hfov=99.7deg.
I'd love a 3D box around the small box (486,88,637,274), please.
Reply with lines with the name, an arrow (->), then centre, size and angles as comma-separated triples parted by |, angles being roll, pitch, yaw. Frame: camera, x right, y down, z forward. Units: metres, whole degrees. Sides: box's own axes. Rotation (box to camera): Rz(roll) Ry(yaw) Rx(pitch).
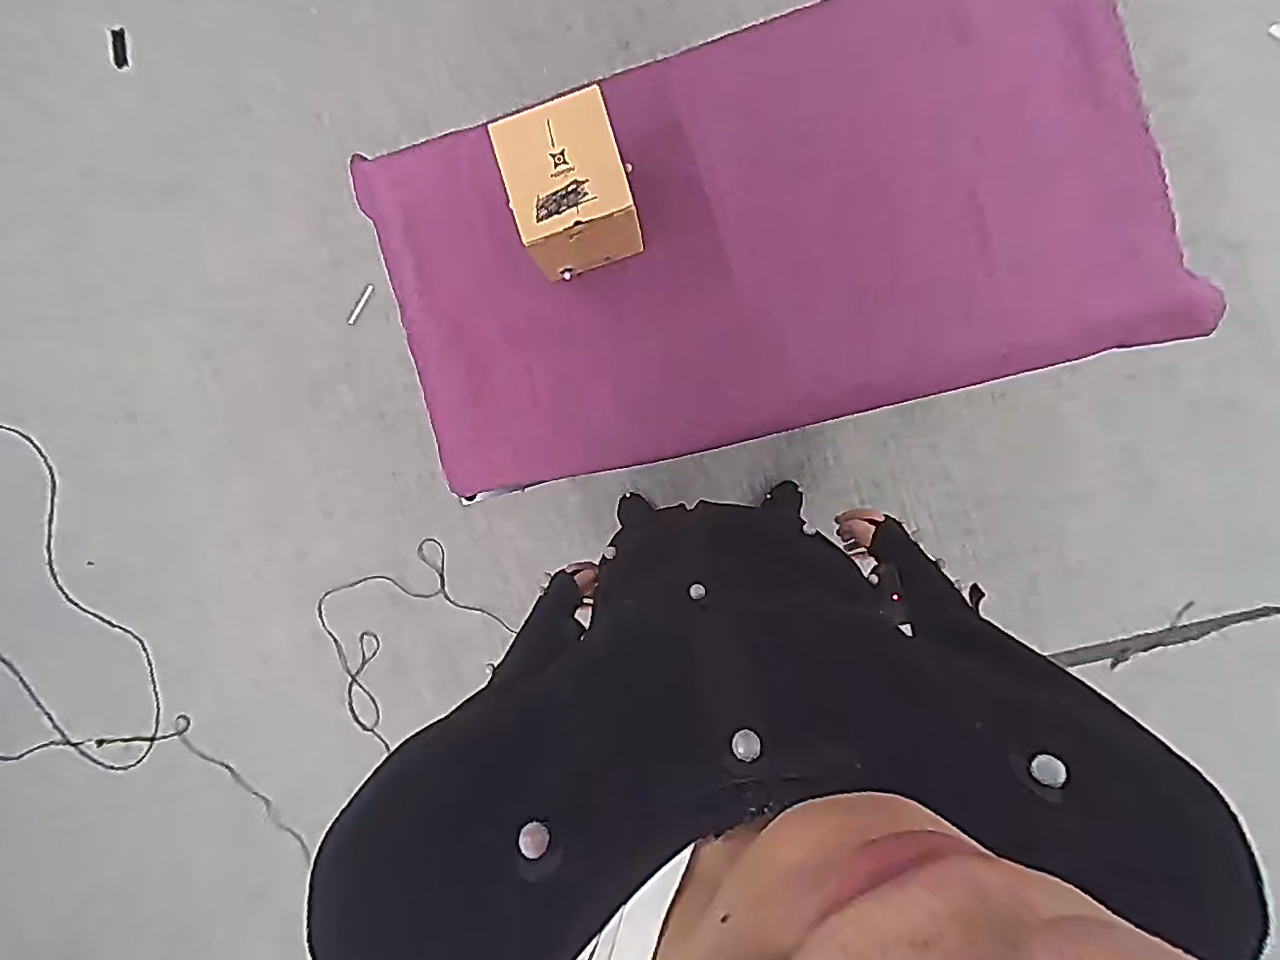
small box -> -0.107, -0.435, 0.826 | 0.168, 0.176, 0.179 | -17, 91, 5
